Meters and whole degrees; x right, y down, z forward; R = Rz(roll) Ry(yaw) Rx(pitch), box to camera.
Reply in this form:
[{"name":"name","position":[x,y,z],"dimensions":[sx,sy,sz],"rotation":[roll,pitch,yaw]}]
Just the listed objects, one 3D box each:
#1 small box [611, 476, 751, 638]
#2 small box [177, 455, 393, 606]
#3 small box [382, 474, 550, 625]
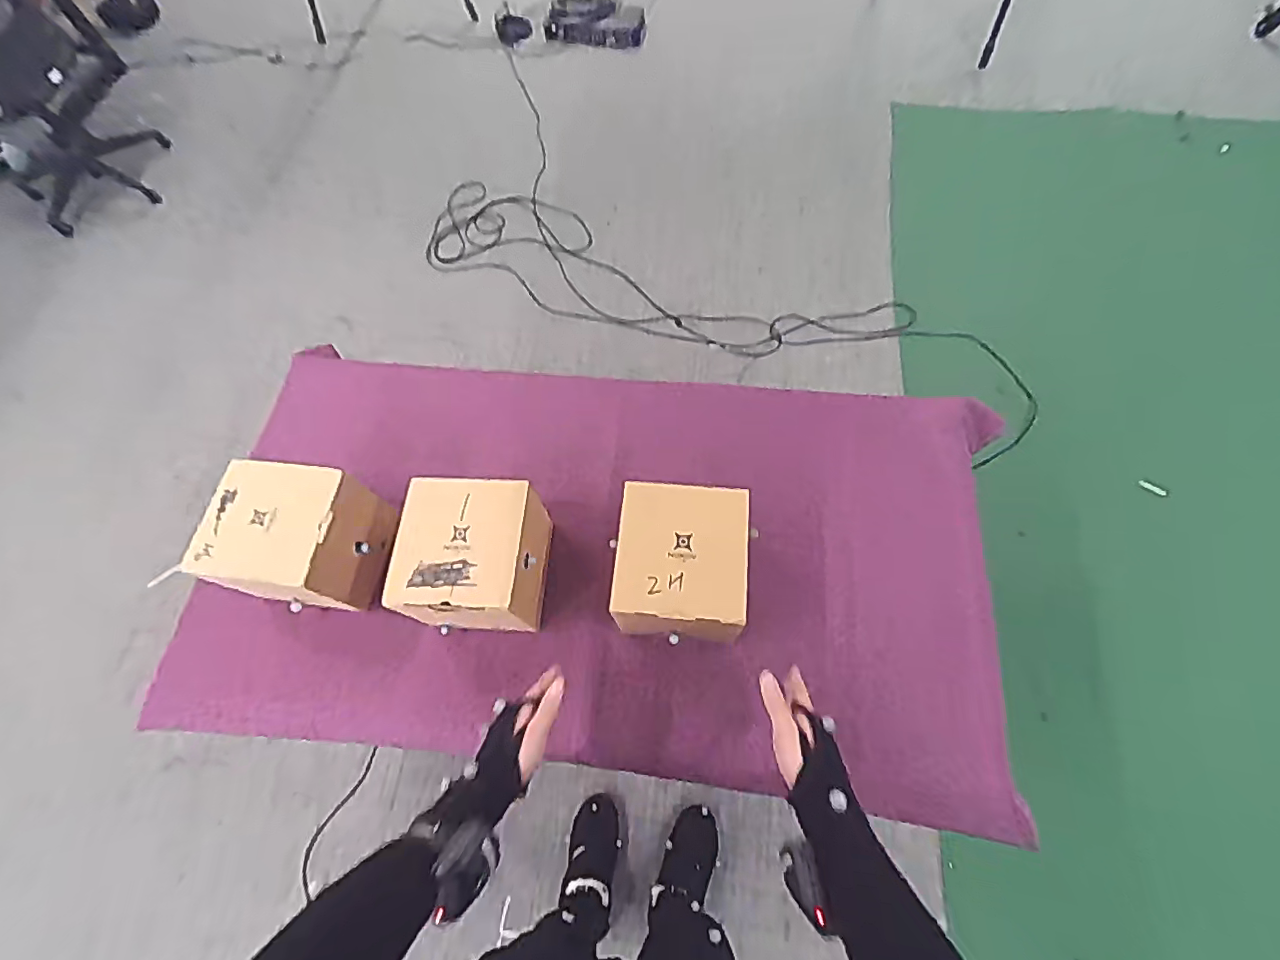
[{"name":"small box","position":[0.058,0.112,0.750],"dimensions":[0.168,0.176,0.179],"rotation":[4,67,5]},{"name":"small box","position":[-0.495,0.081,0.789],"dimensions":[0.179,0.176,0.168],"rotation":[7,66,4]},{"name":"small box","position":[-0.230,0.105,0.766],"dimensions":[0.168,0.176,0.179],"rotation":[2,66,3]}]
